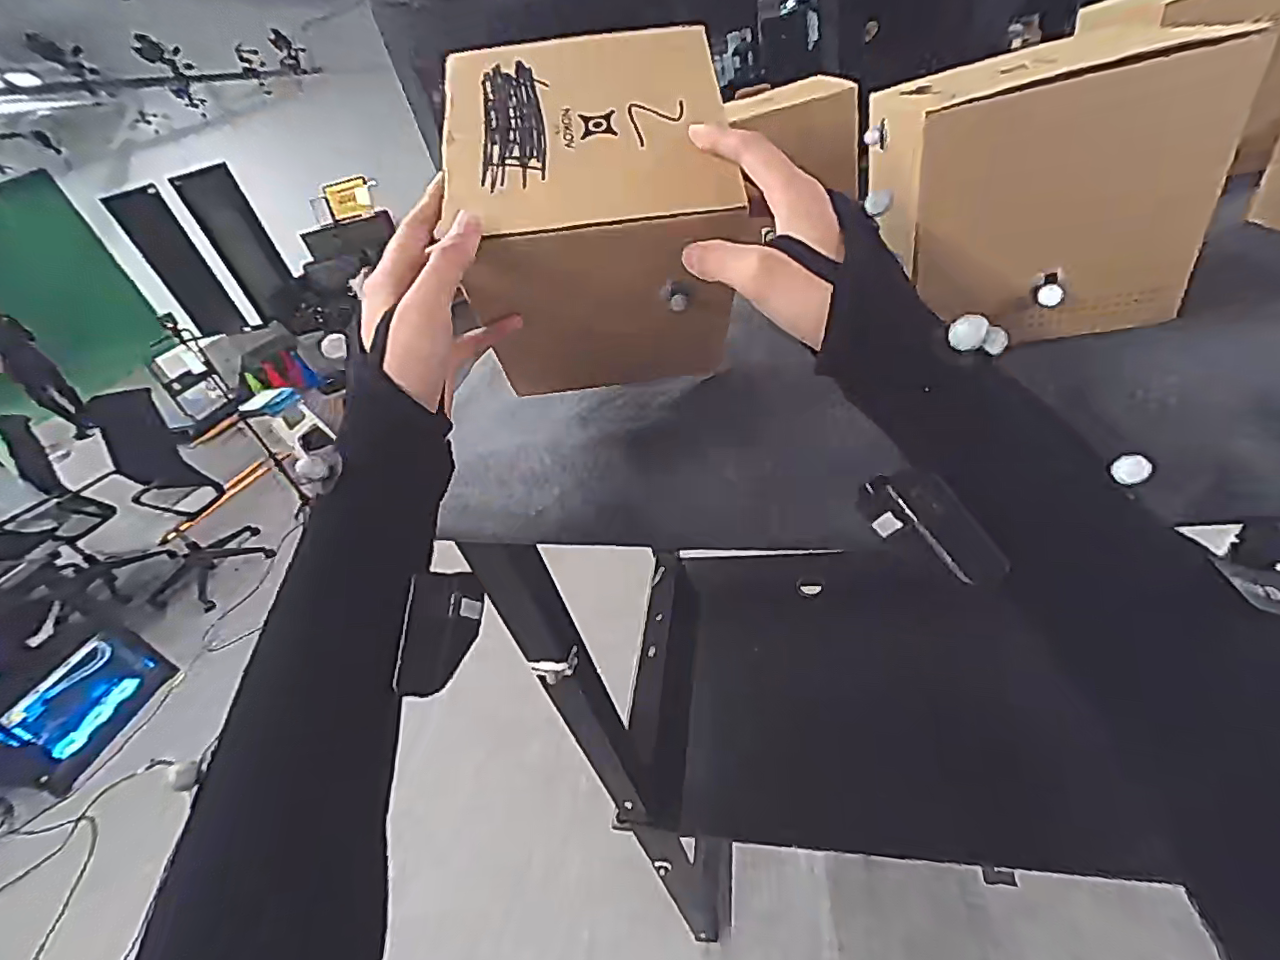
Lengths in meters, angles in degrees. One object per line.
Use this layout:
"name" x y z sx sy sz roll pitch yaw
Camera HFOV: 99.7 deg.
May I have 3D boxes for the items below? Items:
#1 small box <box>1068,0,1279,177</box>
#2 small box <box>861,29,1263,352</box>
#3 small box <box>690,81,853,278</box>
"small box" 0.577 -0.422 0.570 0.179 0.176 0.168 -5 38 15
"small box" 0.277 -0.216 0.415 0.179 0.176 0.168 -5 37 14
"small box" 0.156 -0.367 0.666 0.168 0.176 0.179 -9 36 11
